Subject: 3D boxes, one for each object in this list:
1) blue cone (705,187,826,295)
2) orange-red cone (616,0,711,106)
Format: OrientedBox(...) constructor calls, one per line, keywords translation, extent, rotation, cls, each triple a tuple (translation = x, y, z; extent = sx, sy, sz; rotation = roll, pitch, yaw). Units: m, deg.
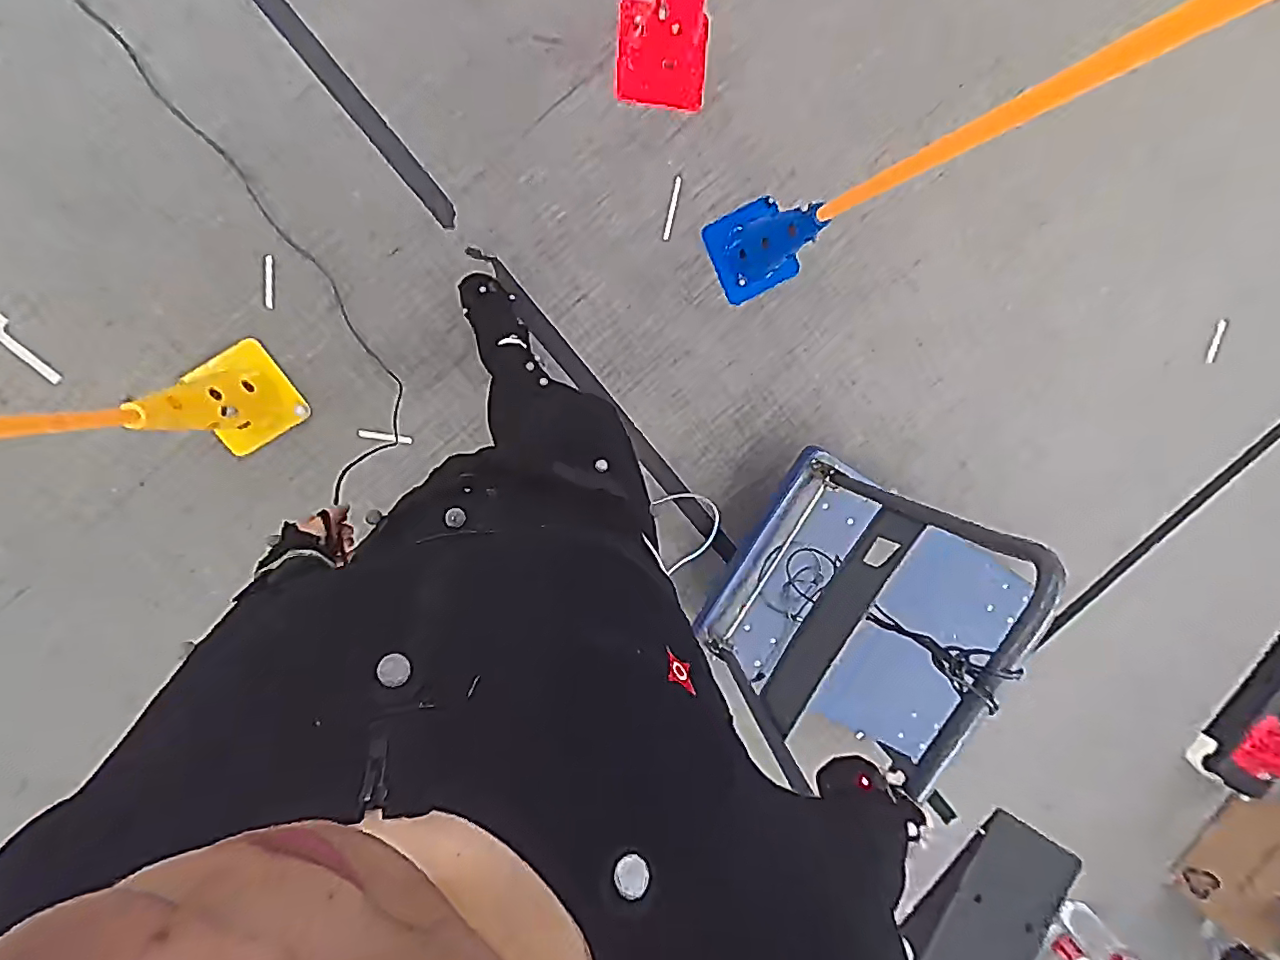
OrientedBox(translation=(0.291, -0.527, 1.136), extent=(0.193, 0.380, 0.192), rotation=(-26, 104, -3), cls="blue cone")
OrientedBox(translation=(0.076, -0.892, 1.005), extent=(0.198, 0.360, 0.199), rotation=(4, 103, -9), cls="orange-red cone")
